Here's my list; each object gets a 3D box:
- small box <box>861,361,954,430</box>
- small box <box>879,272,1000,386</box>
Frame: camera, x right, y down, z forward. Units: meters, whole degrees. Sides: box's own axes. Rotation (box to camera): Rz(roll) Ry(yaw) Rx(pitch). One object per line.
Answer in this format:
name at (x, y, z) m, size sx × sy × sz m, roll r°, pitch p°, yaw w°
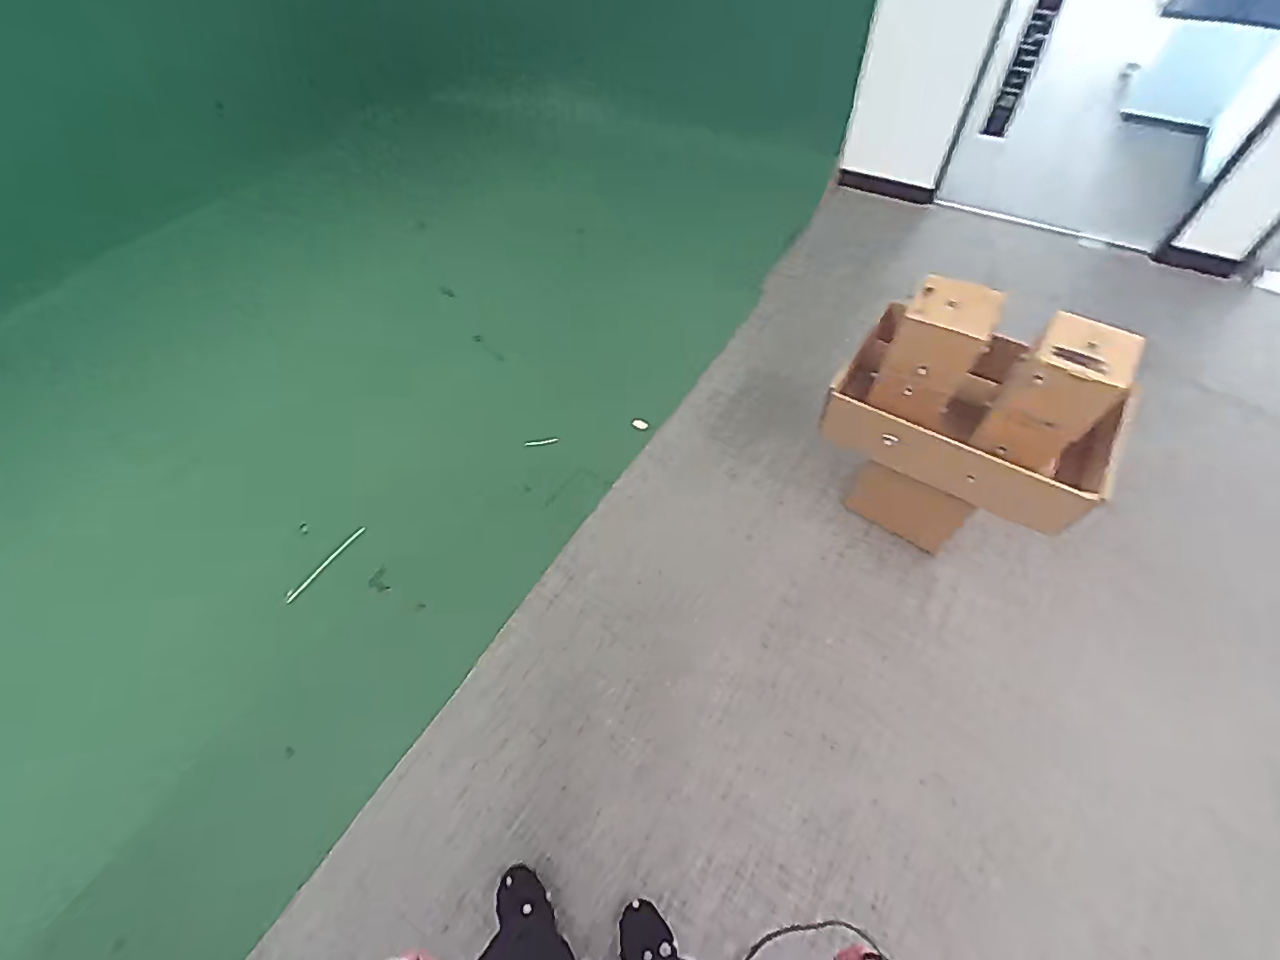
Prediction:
small box at (0.703, -0.259, 1.404) m, size 0.179 × 0.176 × 0.168 m, roll 28°, pitch 64°, yaw 19°
small box at (0.693, -0.346, 1.265) m, size 0.179 × 0.176 × 0.168 m, roll 26°, pitch 63°, yaw 19°
